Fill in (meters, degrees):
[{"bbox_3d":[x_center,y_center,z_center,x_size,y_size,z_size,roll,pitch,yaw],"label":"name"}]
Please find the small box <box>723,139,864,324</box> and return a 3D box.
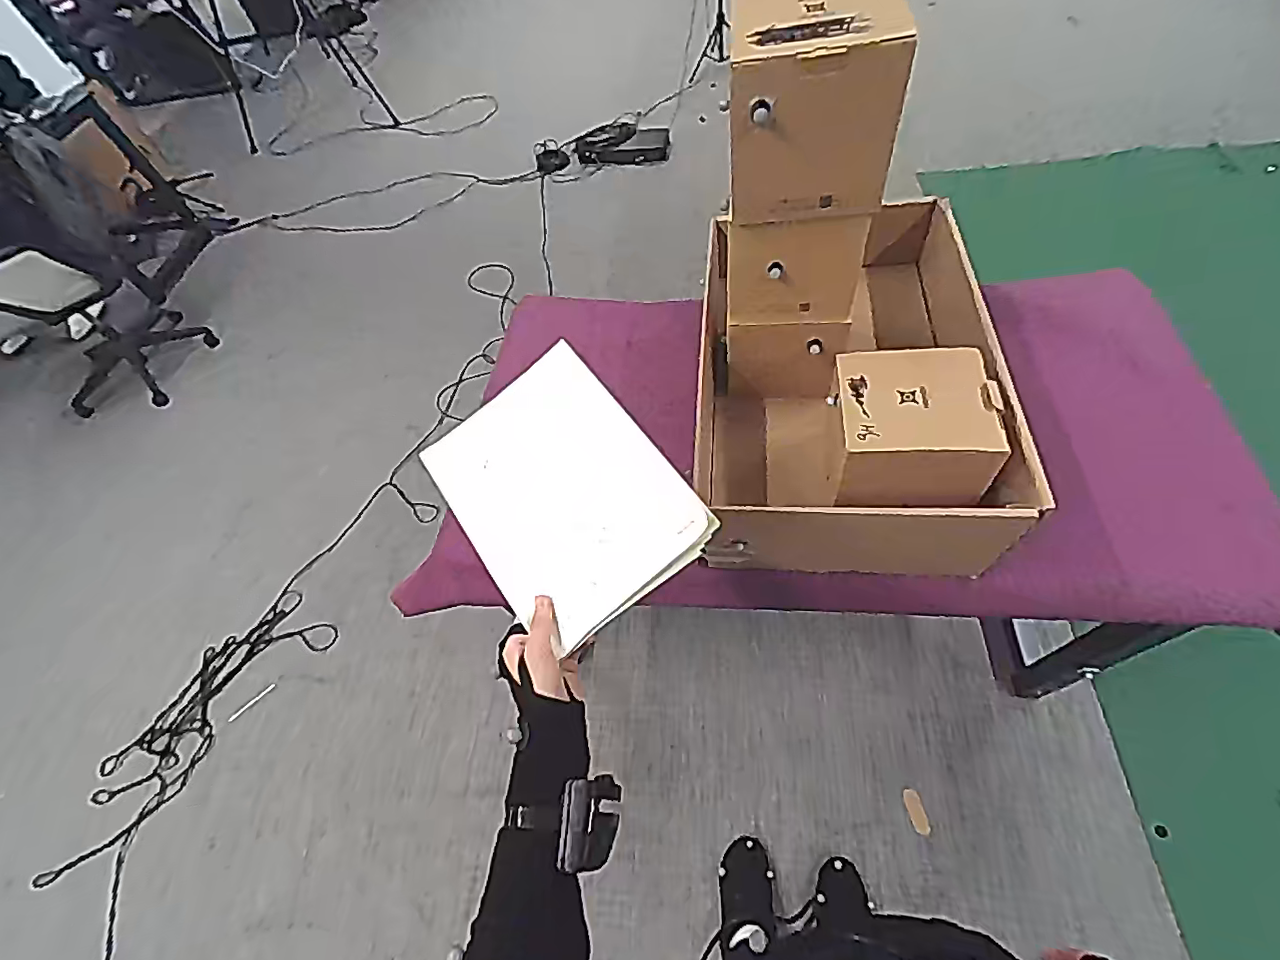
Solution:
[{"bbox_3d":[0.205,-0.332,0.748,0.168,0.176,0.179,1,58,12],"label":"small box"}]
